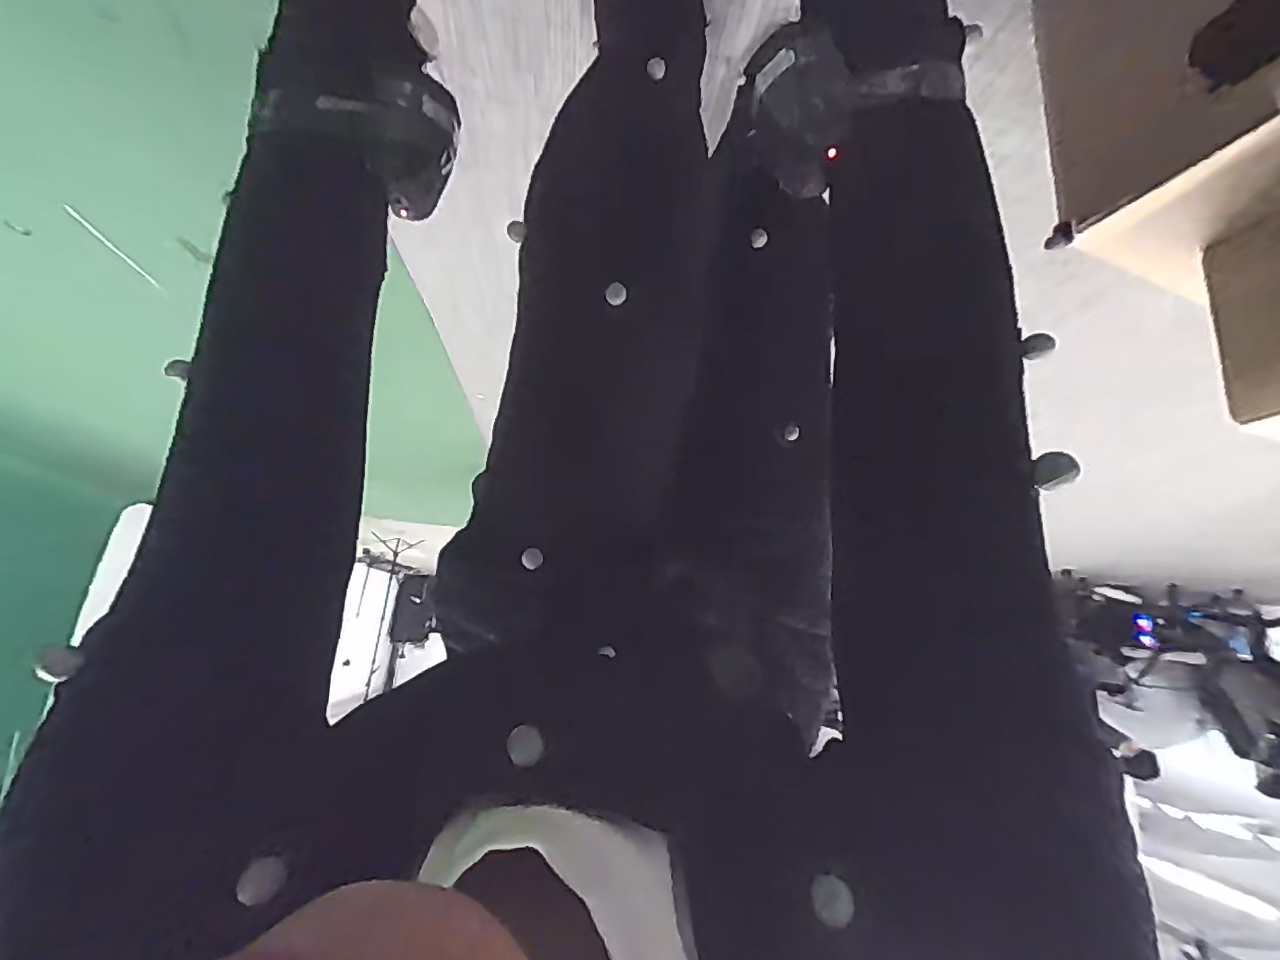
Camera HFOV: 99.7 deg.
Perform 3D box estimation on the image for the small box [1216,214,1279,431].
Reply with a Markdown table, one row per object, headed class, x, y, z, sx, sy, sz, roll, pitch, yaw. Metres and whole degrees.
| class | x | y | z | sx | sy | sz | roll | pitch | yaw |
| --- | --- | --- | --- | --- | --- | --- | --- | --- | --- |
| small box | 0.596 | -0.133 | 0.403 | 0.179 | 0.176 | 0.168 | 10 | 165 | -11 |
